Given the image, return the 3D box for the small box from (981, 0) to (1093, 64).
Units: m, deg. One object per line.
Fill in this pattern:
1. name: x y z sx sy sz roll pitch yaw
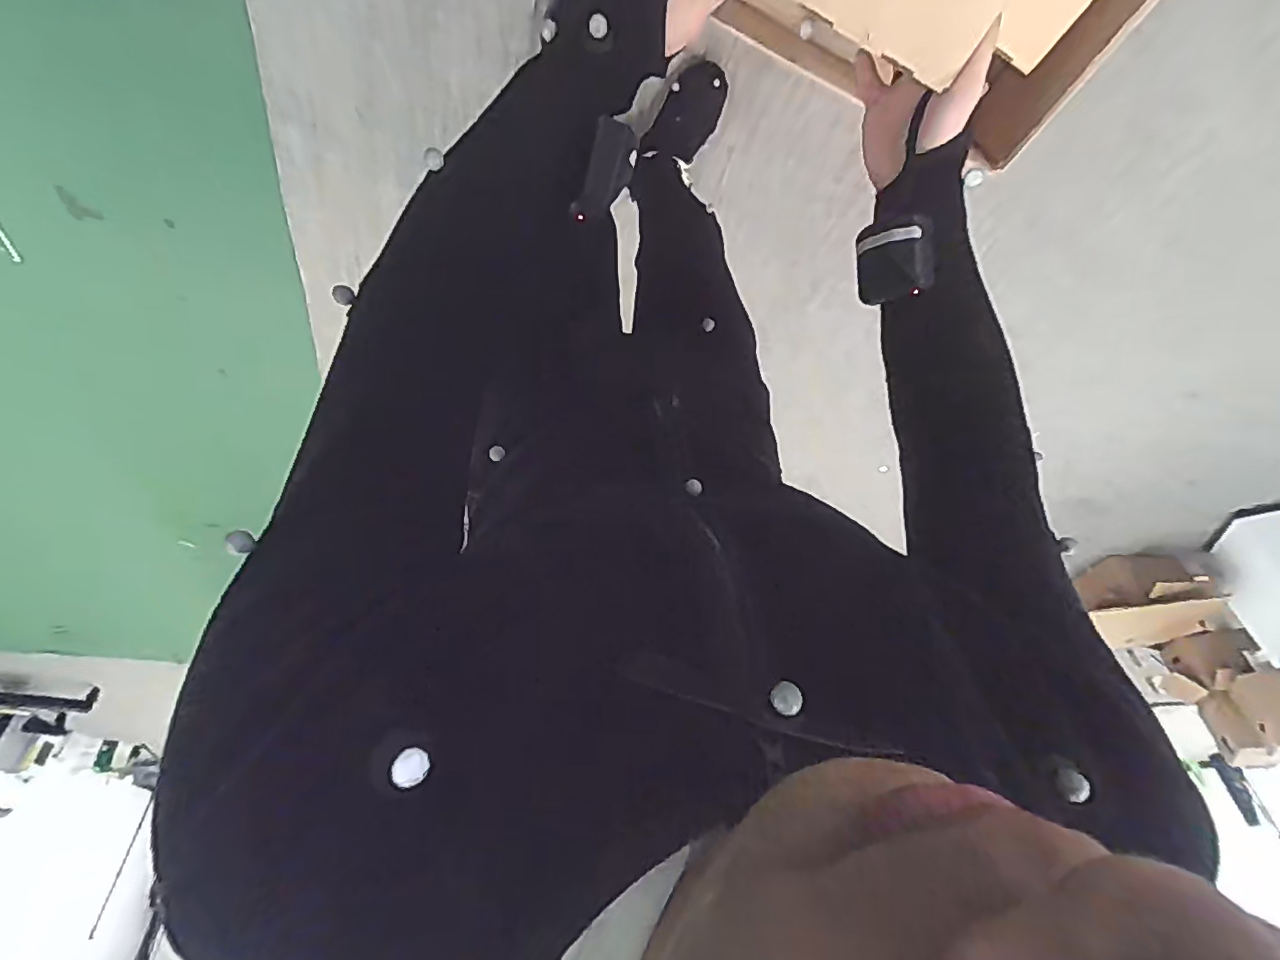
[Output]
1. small box: 0.410 -0.602 0.571 0.168 0.176 0.179 13 142 -20

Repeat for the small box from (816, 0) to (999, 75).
1. small box: 0.177 -0.426 0.361 0.168 0.176 0.179 13 136 -19
